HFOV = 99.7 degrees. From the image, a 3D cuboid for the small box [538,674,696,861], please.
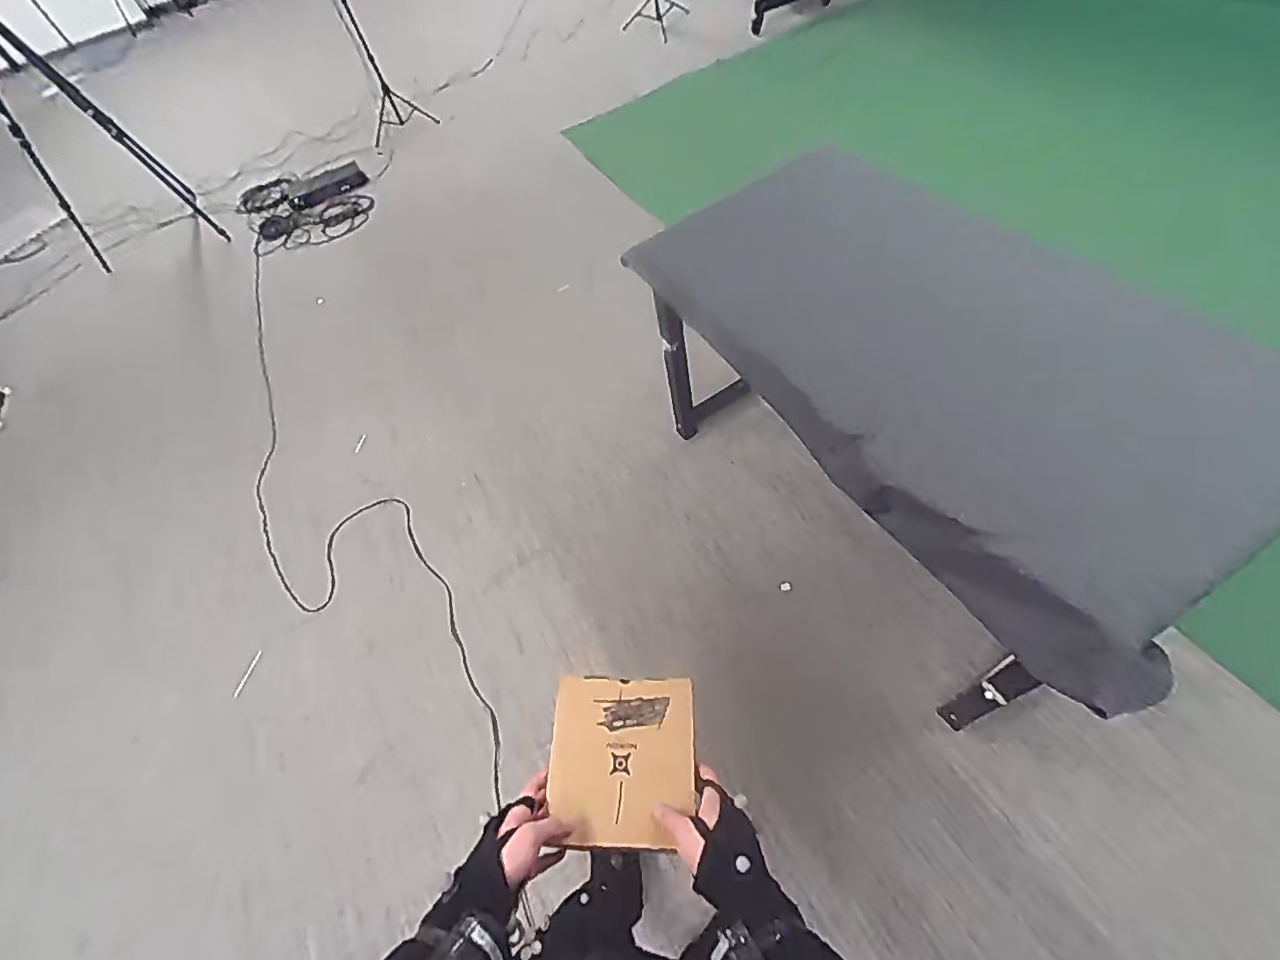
[{"bbox_3d":[-0.020,0.354,0.662,0.168,0.176,0.179,1,54,2],"label":"small box"}]
